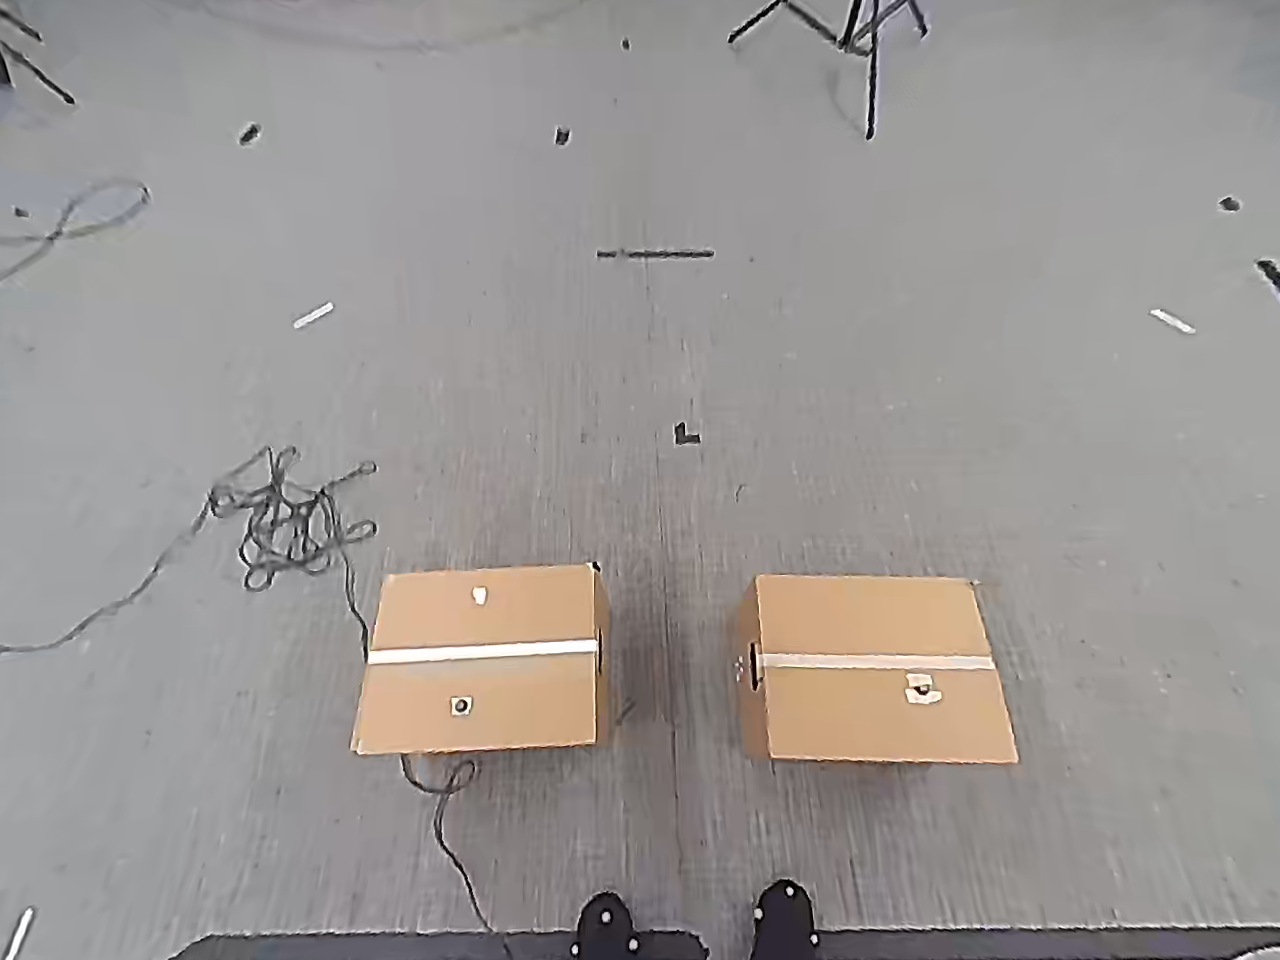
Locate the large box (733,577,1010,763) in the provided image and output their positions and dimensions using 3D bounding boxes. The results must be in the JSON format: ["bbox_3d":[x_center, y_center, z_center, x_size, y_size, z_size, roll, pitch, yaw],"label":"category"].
[{"bbox_3d":[0.417,0.396,1.094,0.408,0.320,0.320,1,62,1],"label":"large box"}]
